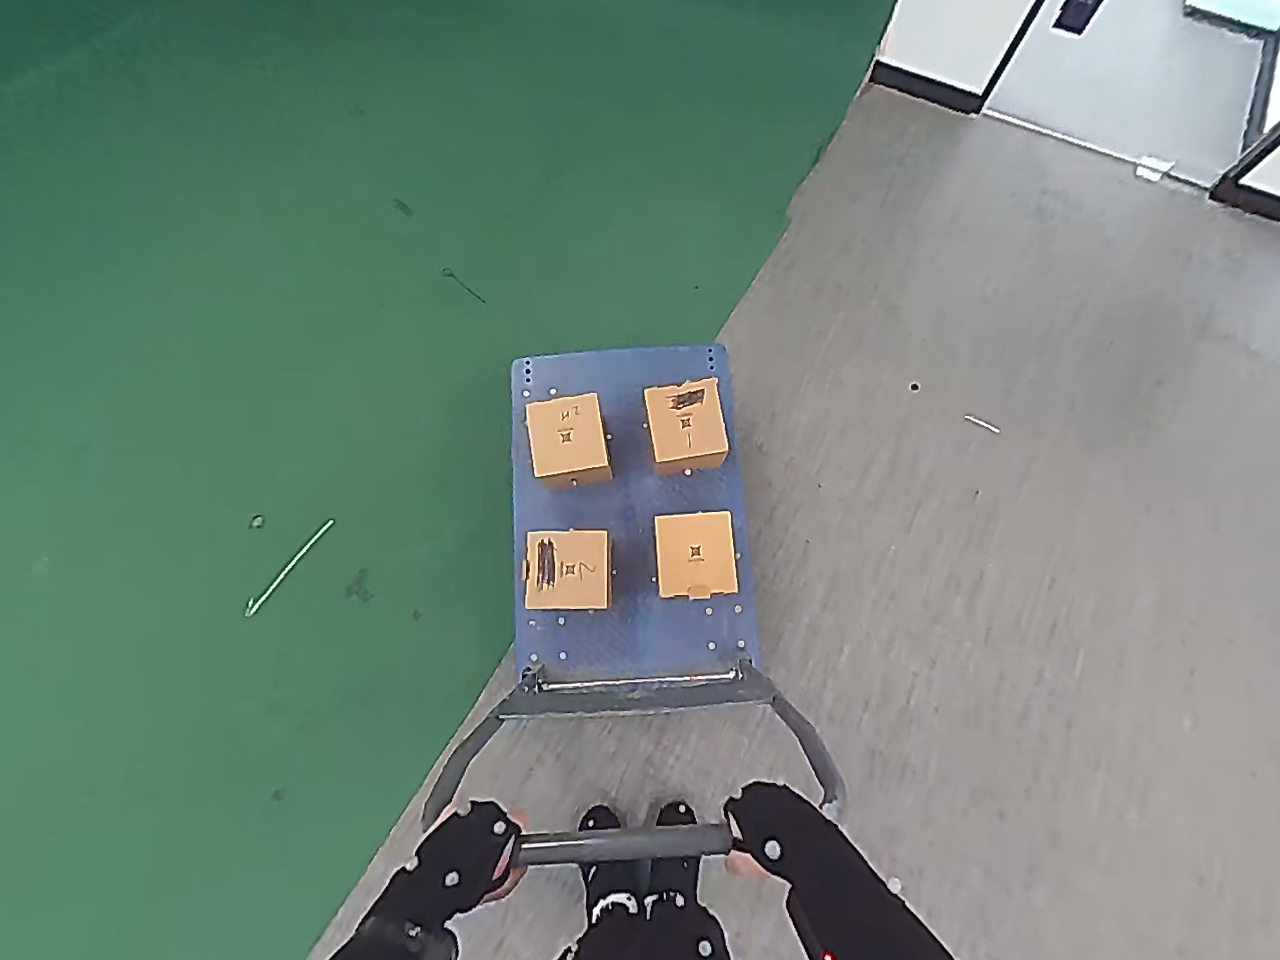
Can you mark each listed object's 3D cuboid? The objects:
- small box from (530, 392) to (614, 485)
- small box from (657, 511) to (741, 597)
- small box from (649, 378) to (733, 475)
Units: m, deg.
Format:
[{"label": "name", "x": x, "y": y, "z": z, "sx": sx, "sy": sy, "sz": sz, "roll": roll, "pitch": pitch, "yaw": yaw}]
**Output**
[{"label": "small box", "x": -0.155, "y": -0.089, "z": 1.277, "sx": 0.168, "sy": 0.176, "sz": 0.179, "roll": -9, "pitch": 79, "yaw": -2}, {"label": "small box", "x": 0.127, "y": 0.171, "z": 1.224, "sx": 0.168, "sy": 0.176, "sz": 0.179, "roll": -4, "pitch": 80, "yaw": 0}, {"label": "small box", "x": 0.113, "y": -0.120, "z": 1.279, "sx": 0.168, "sy": 0.176, "sz": 0.179, "roll": -9, "pitch": 80, "yaw": 0}]
